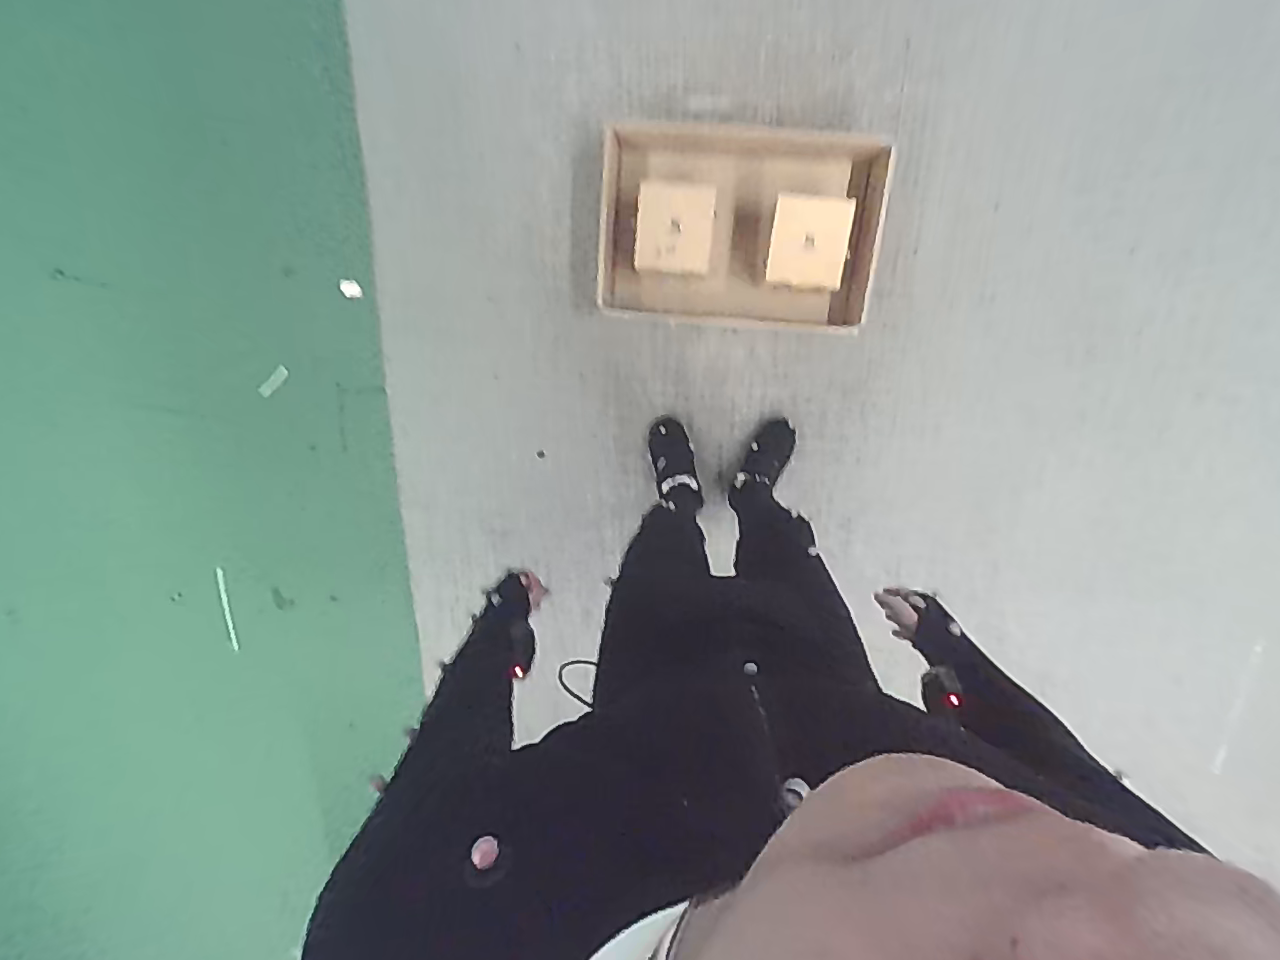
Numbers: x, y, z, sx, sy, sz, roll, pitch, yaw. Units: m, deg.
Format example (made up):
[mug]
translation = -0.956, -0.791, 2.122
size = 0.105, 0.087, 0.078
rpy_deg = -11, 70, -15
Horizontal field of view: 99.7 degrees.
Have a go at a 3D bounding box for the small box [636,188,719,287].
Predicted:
[small box]
translation = 0.085, -0.555, 1.257
size = 0.168, 0.176, 0.179
rpy_deg = 6, 104, 4
